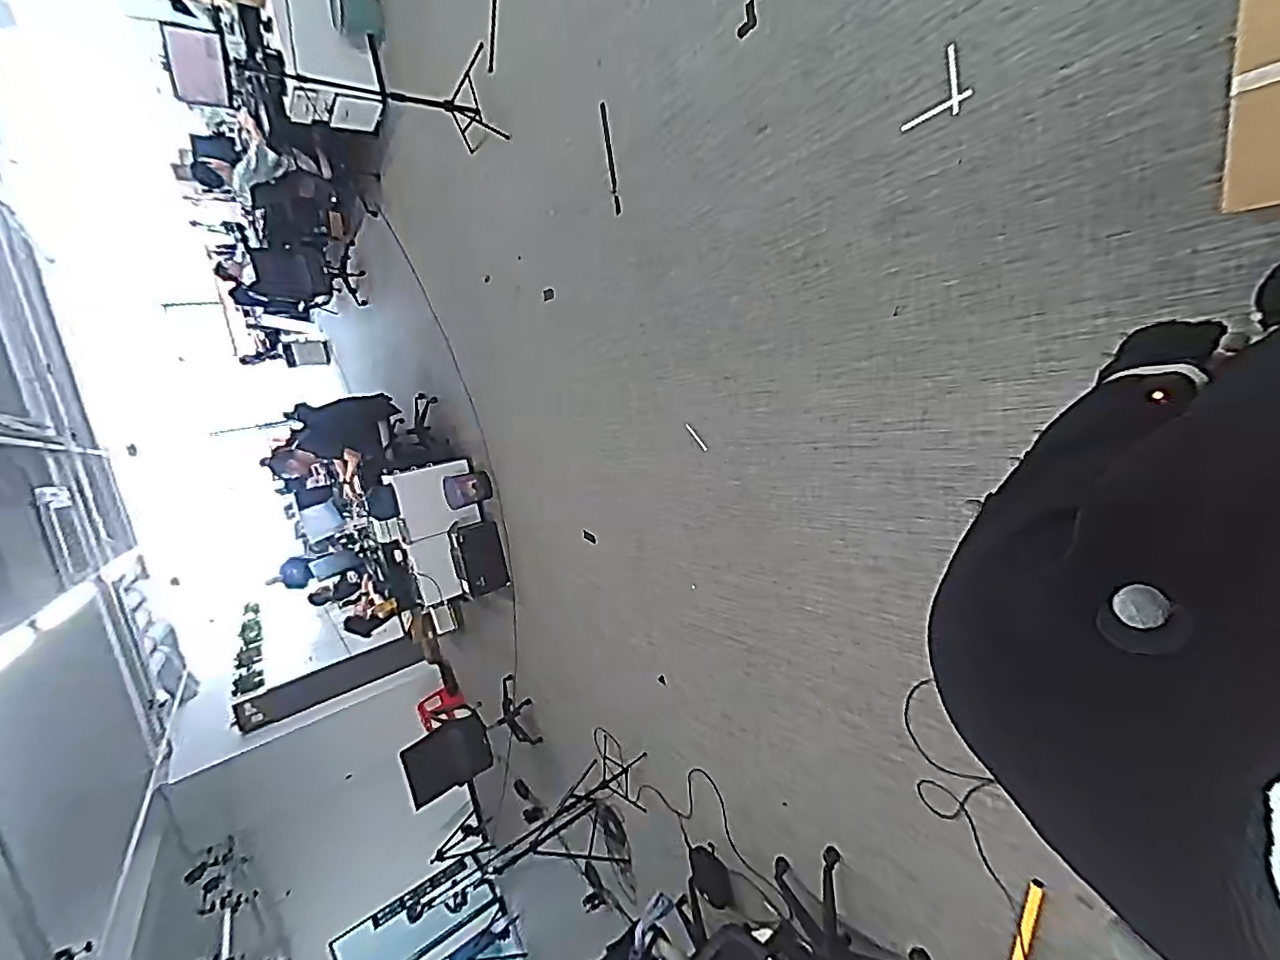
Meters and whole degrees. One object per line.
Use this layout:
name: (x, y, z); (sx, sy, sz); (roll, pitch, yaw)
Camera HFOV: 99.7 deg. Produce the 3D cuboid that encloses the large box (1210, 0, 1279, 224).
large box: (0.994, -0.520, 0.633); (0.408, 0.320, 0.320); (9, 110, 52)
